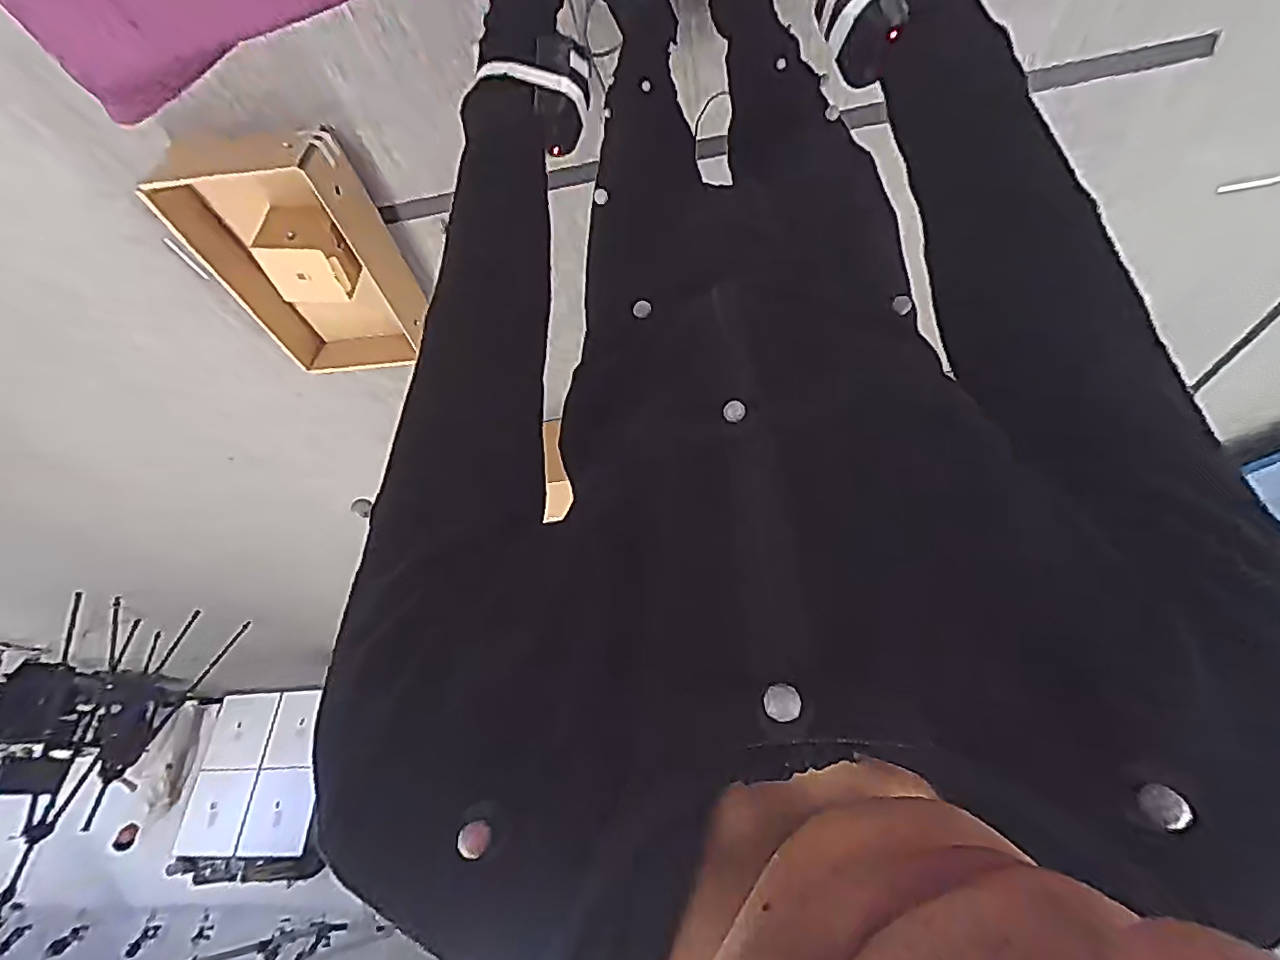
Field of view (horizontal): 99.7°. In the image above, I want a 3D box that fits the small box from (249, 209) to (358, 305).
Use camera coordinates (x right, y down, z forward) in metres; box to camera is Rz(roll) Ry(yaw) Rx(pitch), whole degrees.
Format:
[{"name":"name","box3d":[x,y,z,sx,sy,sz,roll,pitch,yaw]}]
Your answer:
[{"name":"small box","box3d":[-0.854,-0.577,1.399,0.179,0.176,0.168,0,150,-3]}]
